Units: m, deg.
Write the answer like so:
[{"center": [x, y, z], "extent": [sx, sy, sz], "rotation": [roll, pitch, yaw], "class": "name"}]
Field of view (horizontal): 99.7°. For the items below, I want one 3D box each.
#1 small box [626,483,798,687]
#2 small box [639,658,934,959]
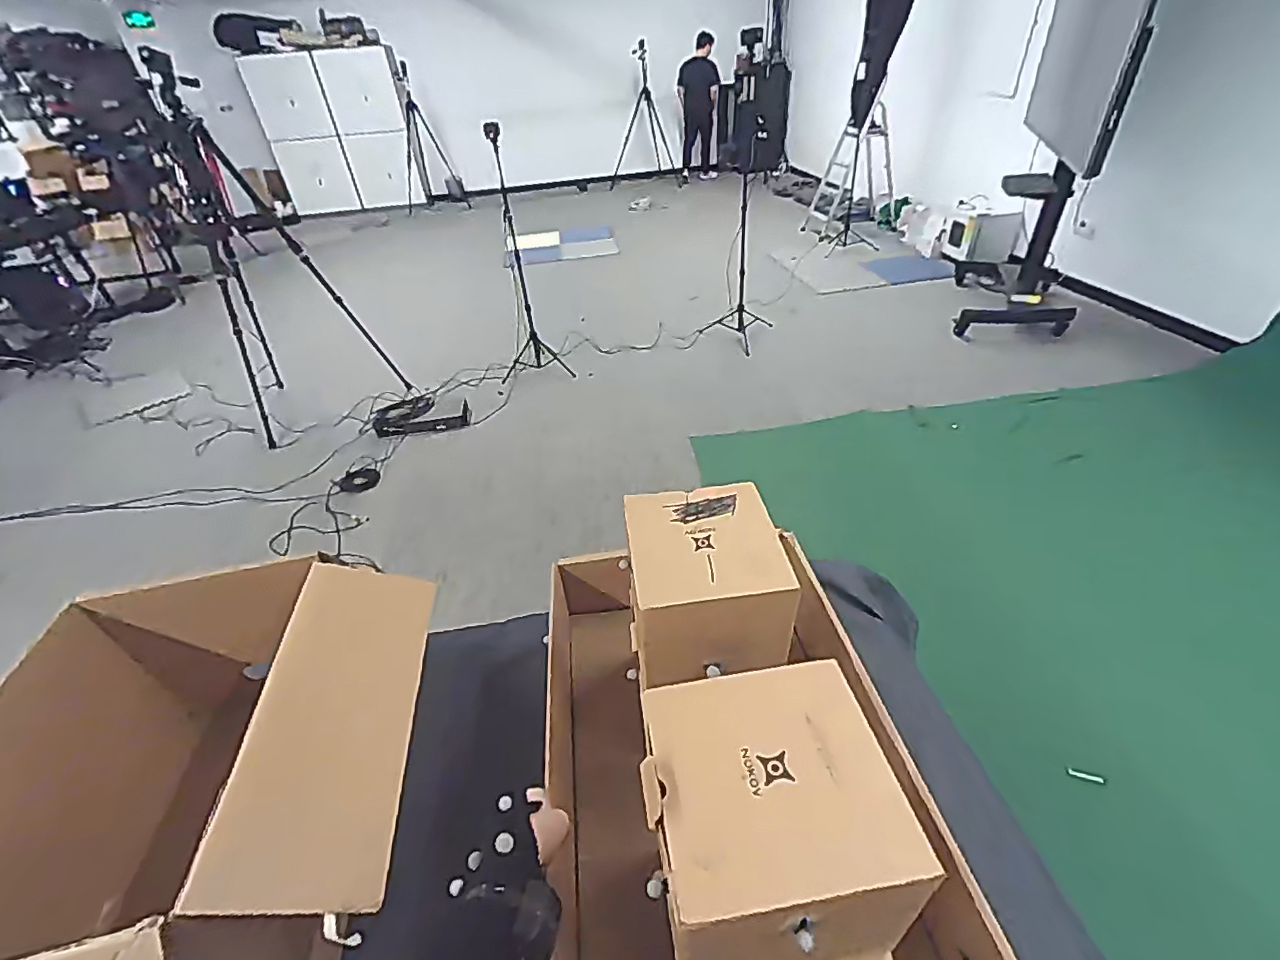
[{"center": [0.074, 0.127, 0.652], "extent": [0.168, 0.176, 0.179], "rotation": [-7, 40, -3], "class": "small box"}, {"center": [0.101, 0.280, 0.452], "extent": [0.179, 0.176, 0.168], "rotation": [-7, 37, -5], "class": "small box"}]
